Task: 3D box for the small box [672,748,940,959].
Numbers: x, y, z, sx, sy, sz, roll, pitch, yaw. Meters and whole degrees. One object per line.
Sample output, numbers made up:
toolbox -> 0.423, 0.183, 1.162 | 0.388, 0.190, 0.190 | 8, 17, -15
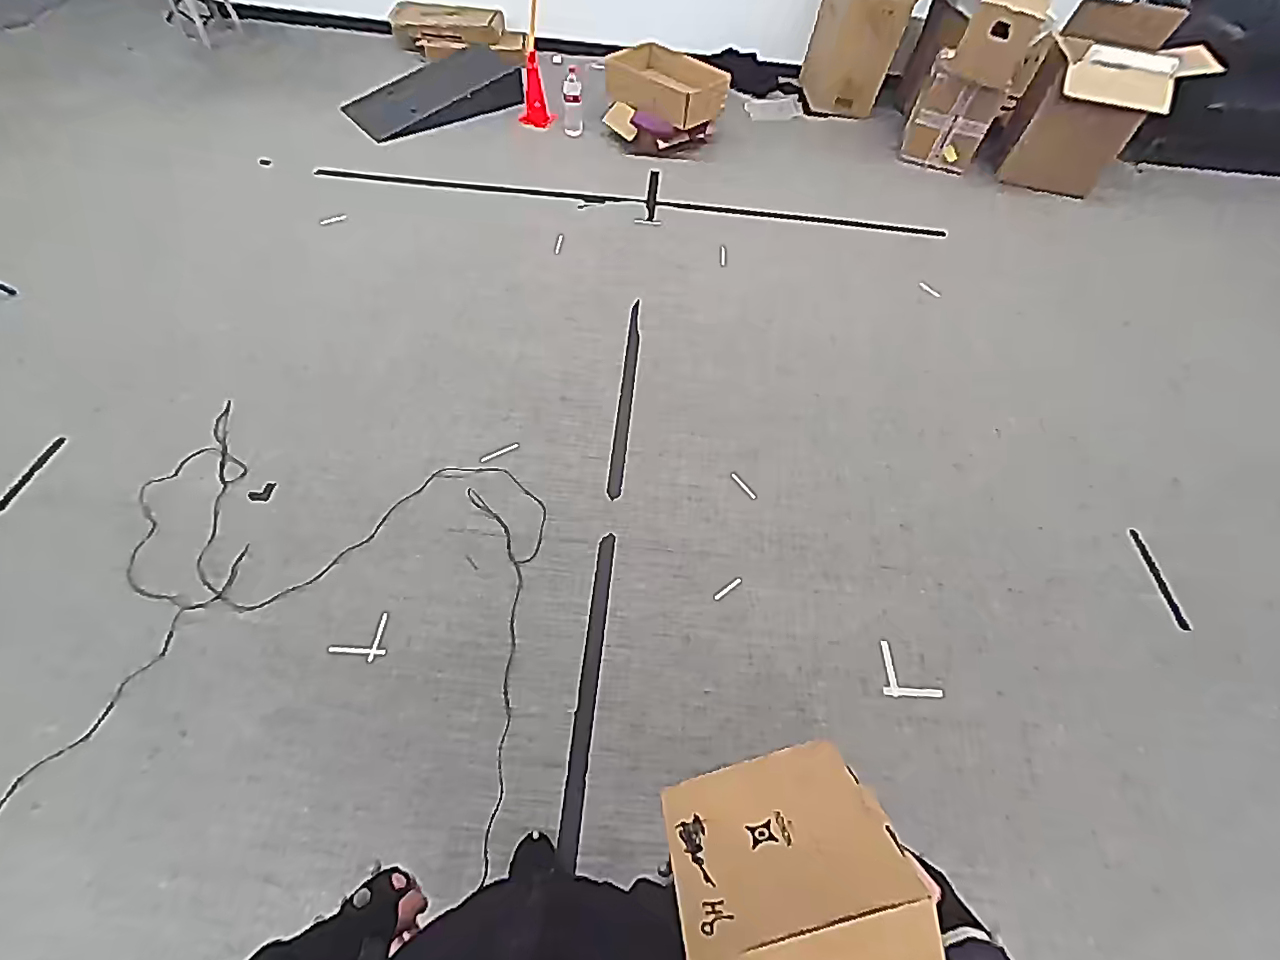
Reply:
small box -> 0.139, 0.380, 0.473 | 0.179, 0.168, 0.176 | -15, 100, -2
